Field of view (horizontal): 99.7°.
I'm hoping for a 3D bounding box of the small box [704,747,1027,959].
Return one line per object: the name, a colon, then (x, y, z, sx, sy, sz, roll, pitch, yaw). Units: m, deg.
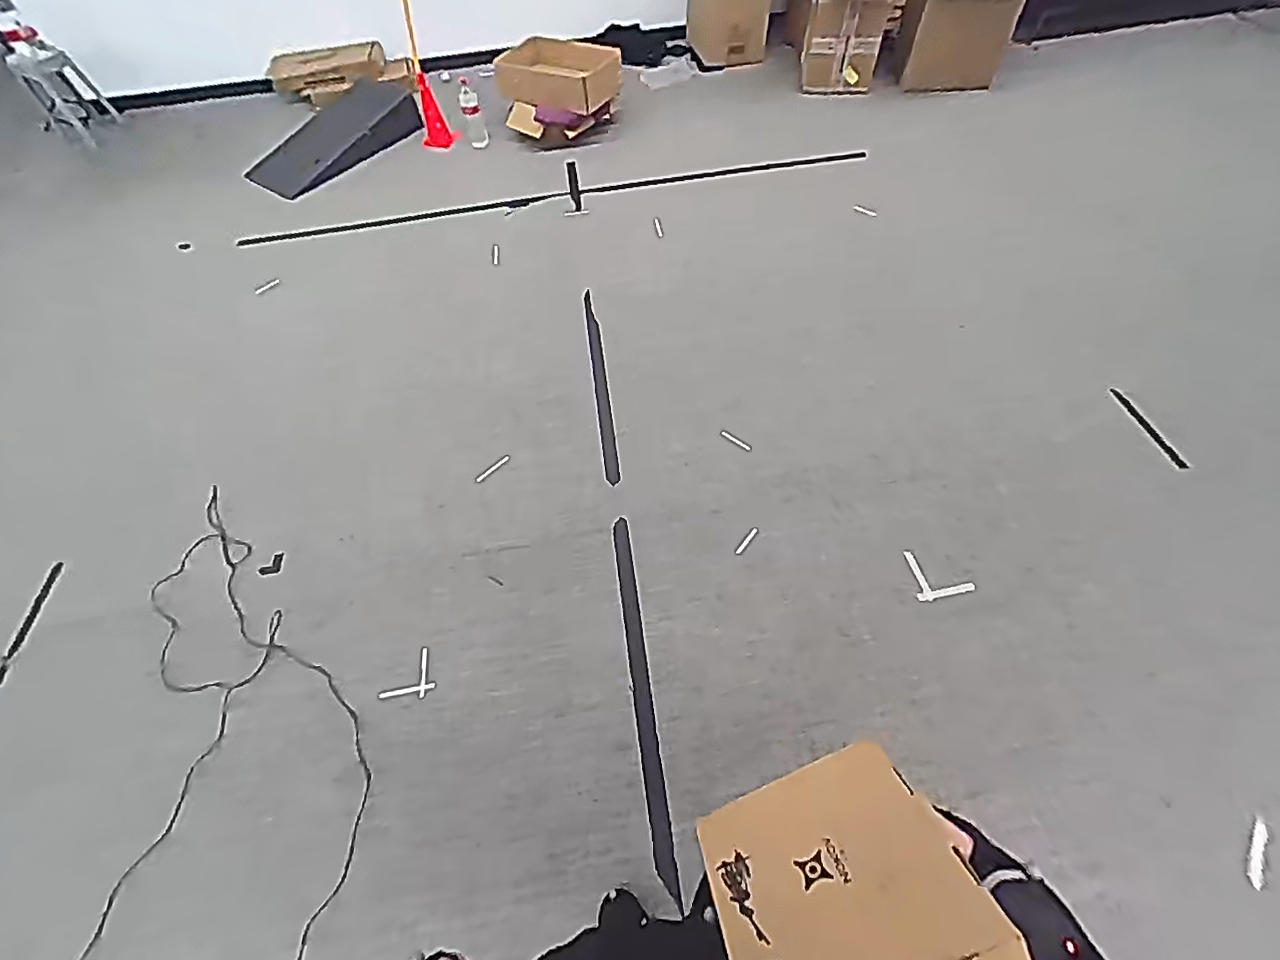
small box: (0.175, 0.363, 0.428, 0.179, 0.176, 0.168, -24, 15, 0)
